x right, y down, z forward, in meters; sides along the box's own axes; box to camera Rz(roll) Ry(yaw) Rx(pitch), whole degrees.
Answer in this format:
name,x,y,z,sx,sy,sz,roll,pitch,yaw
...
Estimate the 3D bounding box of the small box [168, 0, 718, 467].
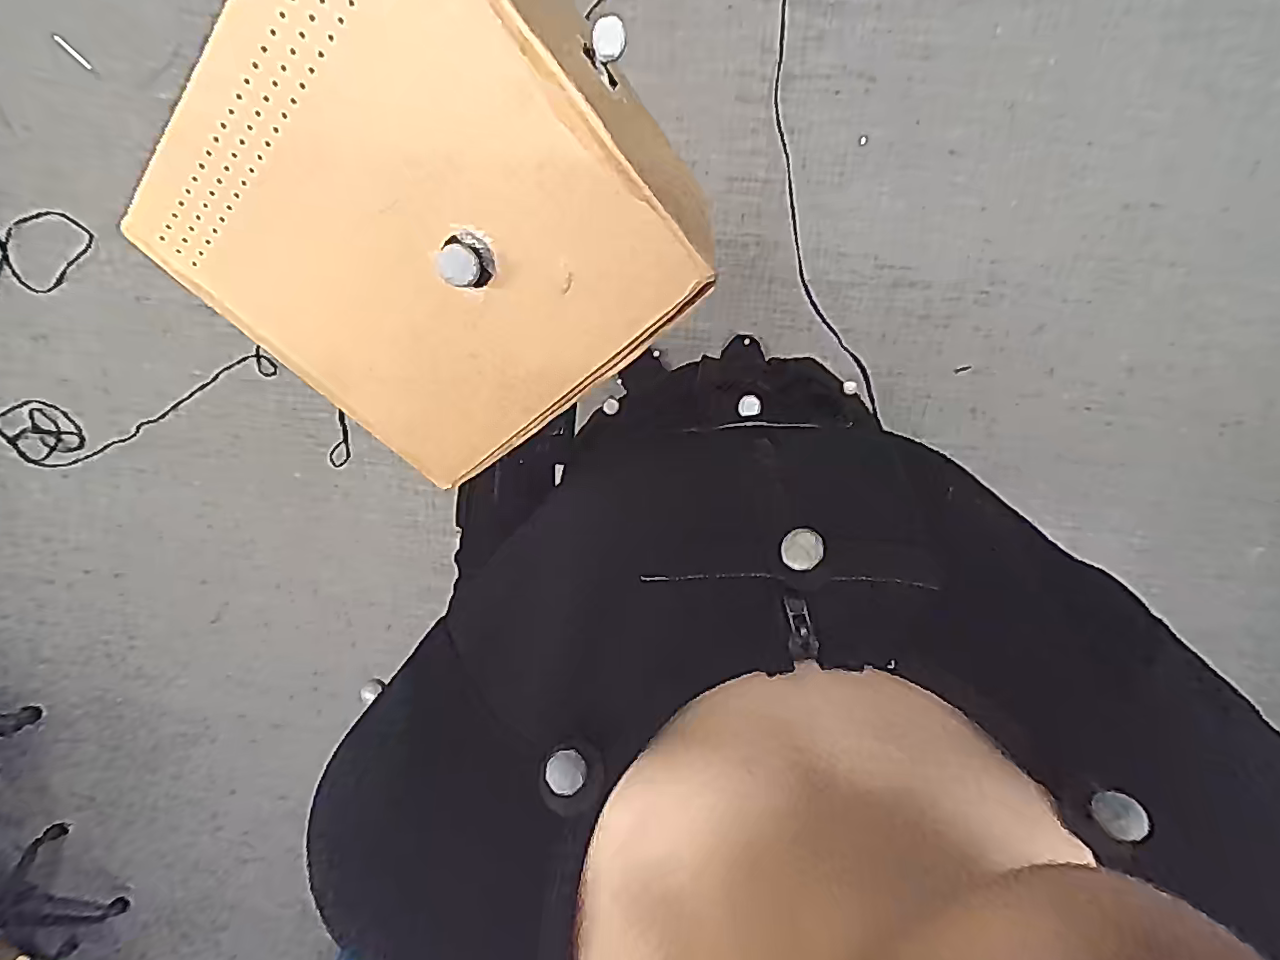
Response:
name,x,y,z,sx,sy,sz,roll,pitch,yaw
small box,-0.081,-0.146,0.279,0.179,0.168,0.176,-33,117,27
